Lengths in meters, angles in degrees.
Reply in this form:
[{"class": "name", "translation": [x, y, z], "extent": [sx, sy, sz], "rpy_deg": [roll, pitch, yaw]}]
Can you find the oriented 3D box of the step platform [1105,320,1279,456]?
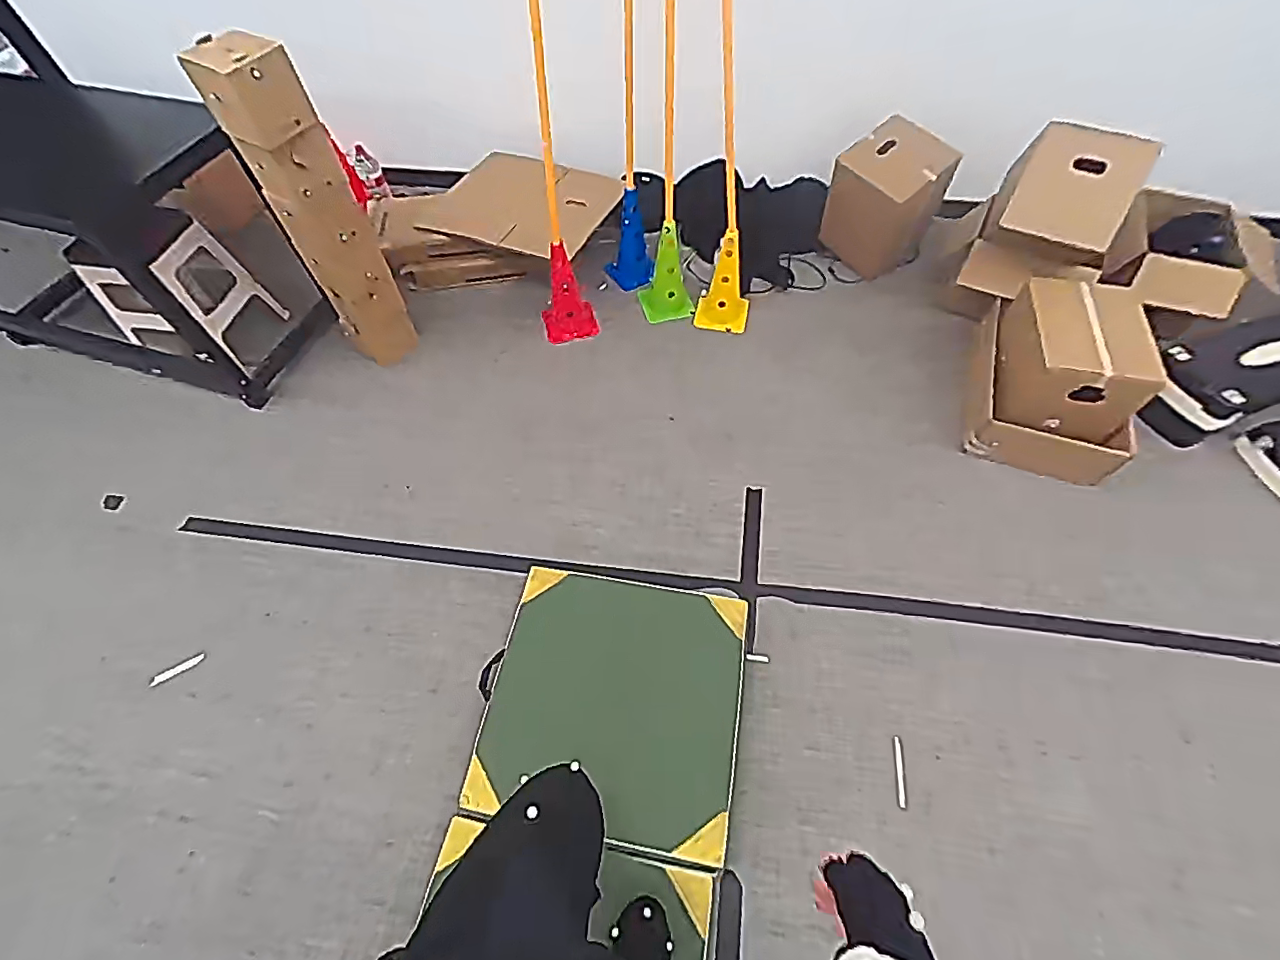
[{"class": "step platform", "translation": [1.996, -0.320, 1.833], "extent": [0.684, 0.204, 0.286], "rpy_deg": [-17, 59, -9]}]
